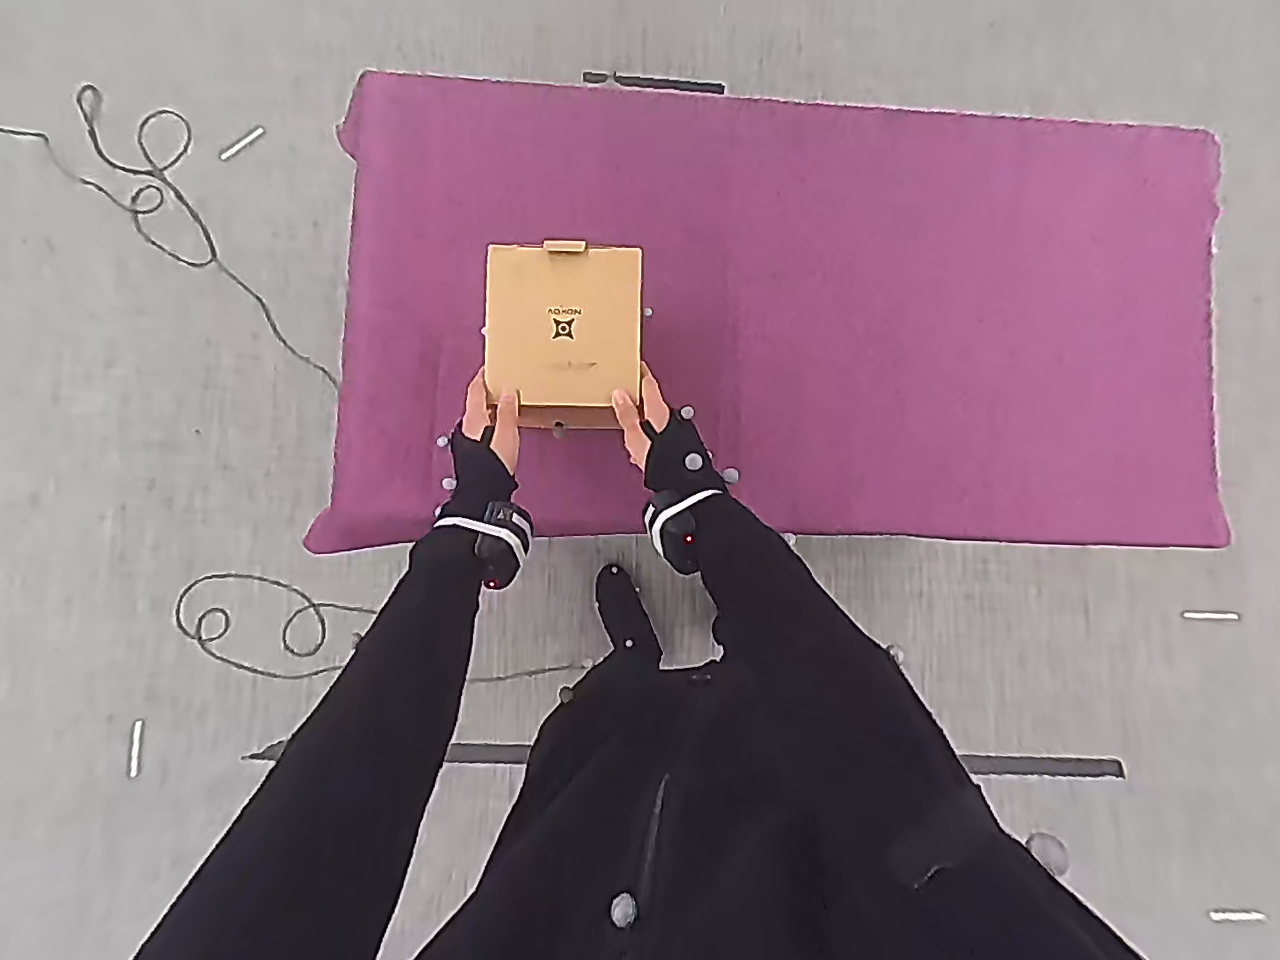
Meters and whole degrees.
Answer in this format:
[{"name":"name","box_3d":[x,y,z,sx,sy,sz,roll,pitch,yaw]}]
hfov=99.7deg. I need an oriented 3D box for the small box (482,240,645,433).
[{"name":"small box","box_3d":[-0.082,-0.158,0.645,0.168,0.176,0.179,2,87,-2]}]
